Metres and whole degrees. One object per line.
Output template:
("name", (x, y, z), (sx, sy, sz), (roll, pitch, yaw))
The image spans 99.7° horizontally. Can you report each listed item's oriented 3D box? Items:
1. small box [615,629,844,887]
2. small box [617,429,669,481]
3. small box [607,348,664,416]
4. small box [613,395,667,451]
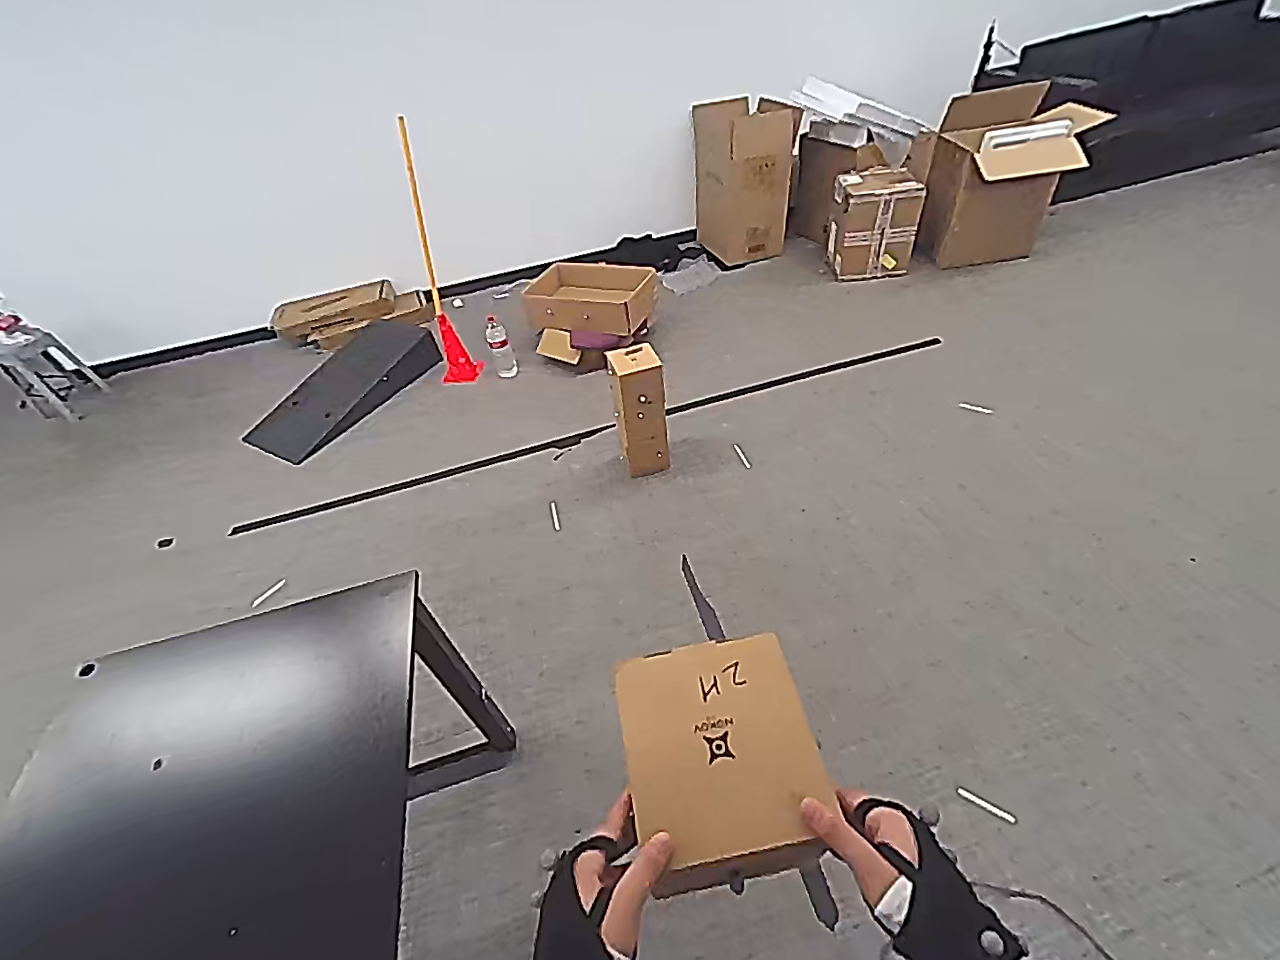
("small box", (0.076, 0.278, 0.534), (0.168, 0.176, 0.179), (-11, 46, -4))
("small box", (0.018, -0.124, 2.239), (0.179, 0.176, 0.168), (-16, 42, -6))
("small box", (-0.016, -0.364, 2.016), (0.168, 0.176, 0.179), (-17, 44, -8))
("small box", (-0.001, -0.243, 2.127), (0.168, 0.176, 0.179), (-17, 42, -8))
